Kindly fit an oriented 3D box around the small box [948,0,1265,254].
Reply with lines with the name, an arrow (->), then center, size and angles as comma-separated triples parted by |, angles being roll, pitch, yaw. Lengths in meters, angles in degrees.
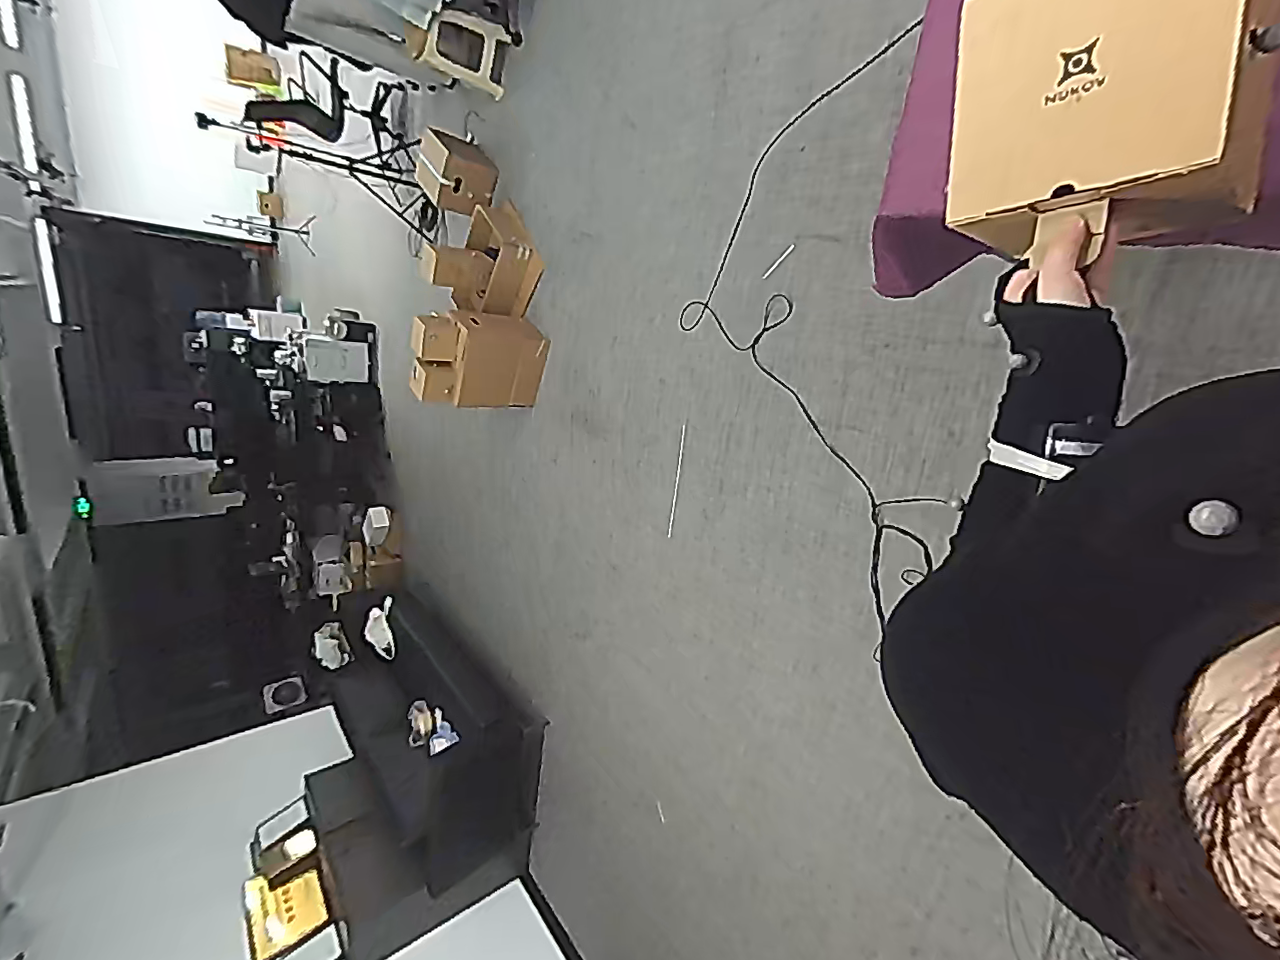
small box -> 0.388, -0.308, 0.455 | 0.168, 0.176, 0.179 | 11, 104, 51
